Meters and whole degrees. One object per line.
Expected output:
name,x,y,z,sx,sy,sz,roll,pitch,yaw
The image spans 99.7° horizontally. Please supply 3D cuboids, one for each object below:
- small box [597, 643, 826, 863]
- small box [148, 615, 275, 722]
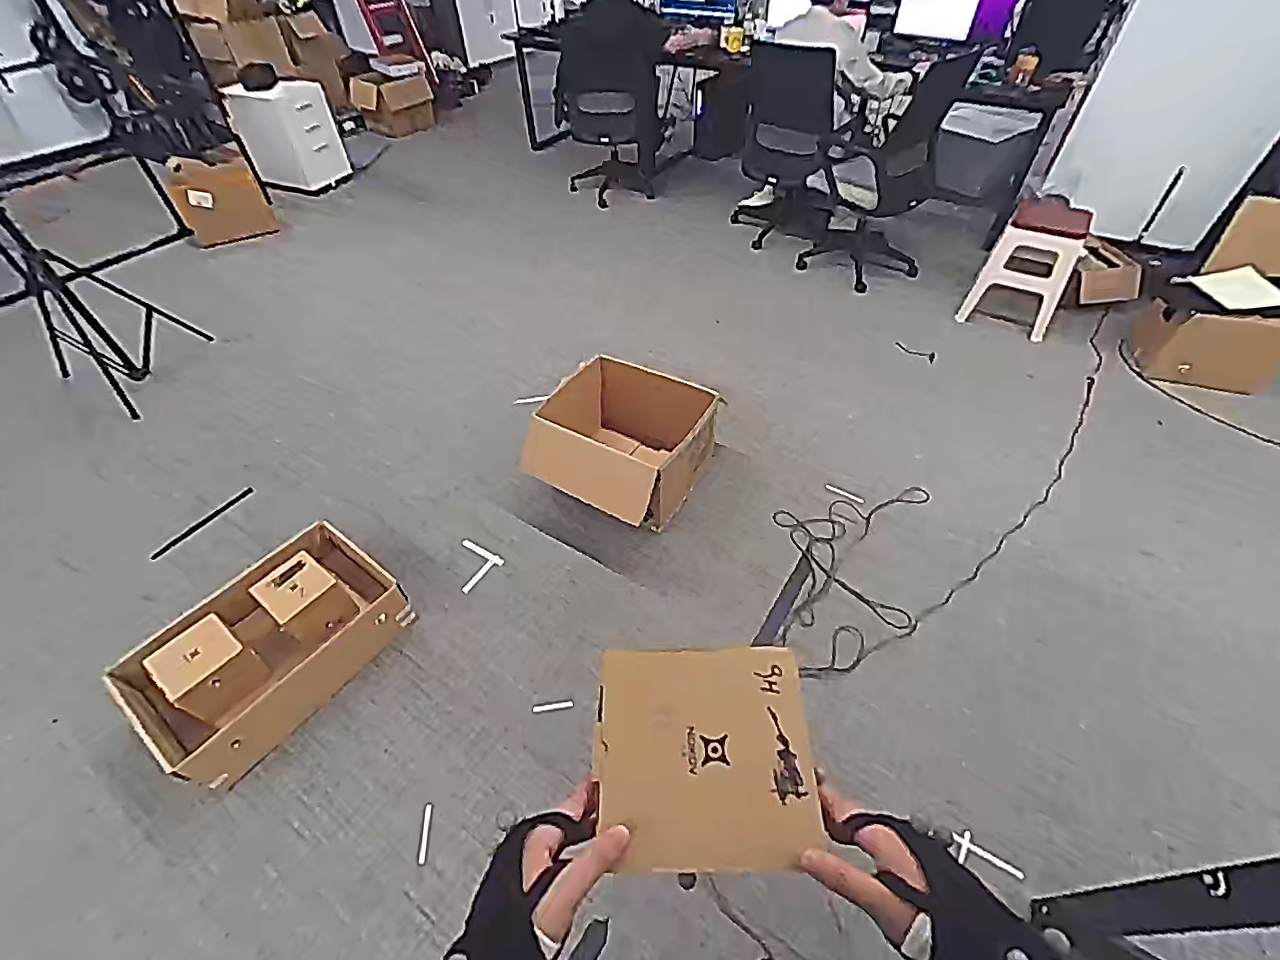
small box,0.058,0.265,0.517,0.179,0.176,0.168,-2,55,2
small box,-1.124,0.503,1.431,0.168,0.176,0.179,31,54,23
